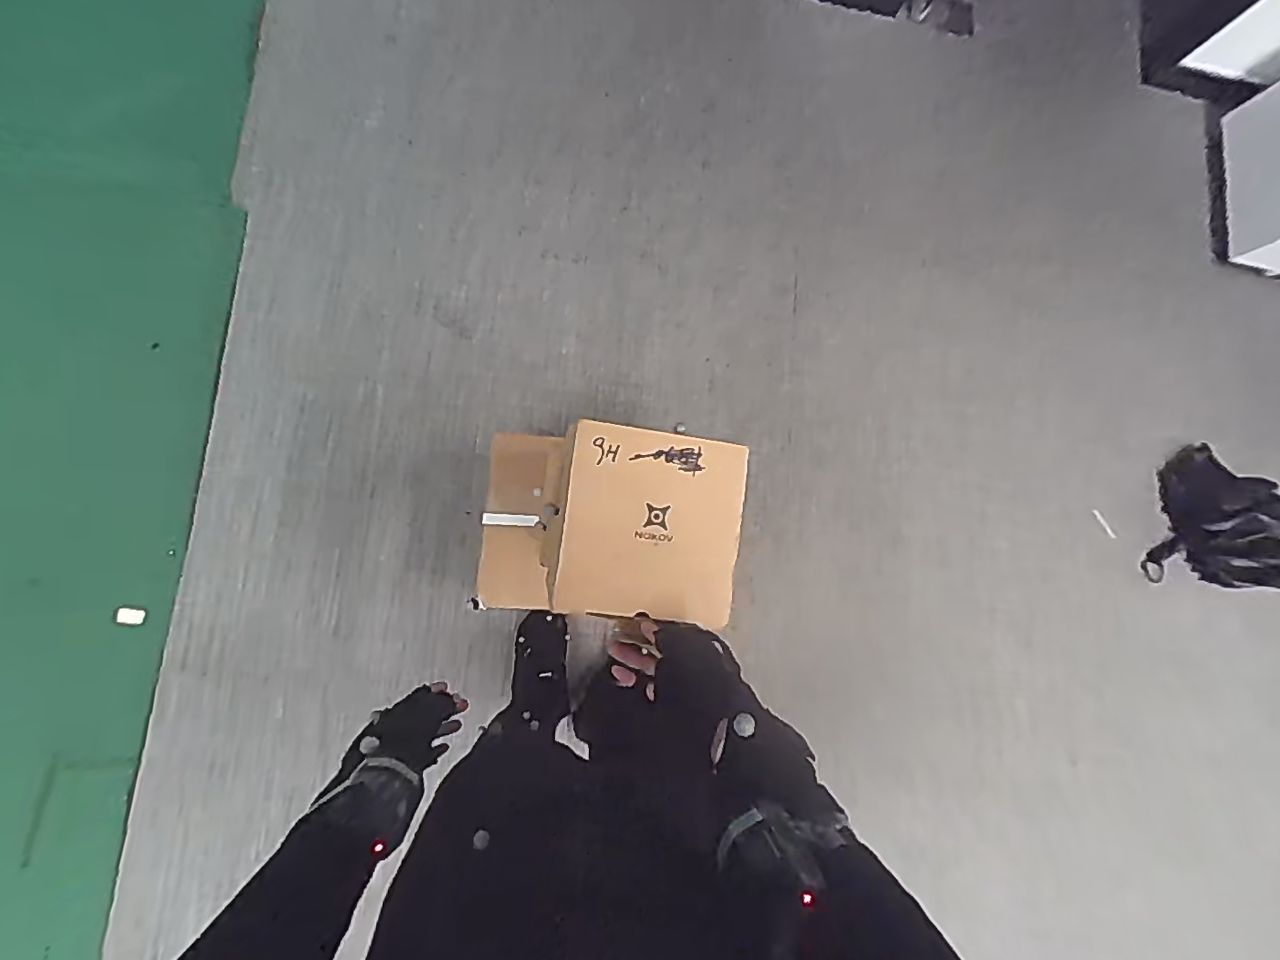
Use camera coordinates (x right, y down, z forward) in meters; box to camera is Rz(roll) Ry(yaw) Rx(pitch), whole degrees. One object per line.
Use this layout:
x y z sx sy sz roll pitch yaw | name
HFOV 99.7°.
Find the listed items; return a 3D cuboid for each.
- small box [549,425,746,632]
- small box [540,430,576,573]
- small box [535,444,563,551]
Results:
-0.003 0.049 0.580 0.168 0.176 0.179 8 87 -11 | small box
-0.039 0.043 0.740 0.168 0.176 0.179 11 84 -11 | small box
-0.073 0.044 0.895 0.179 0.176 0.168 11 84 -10 | small box
